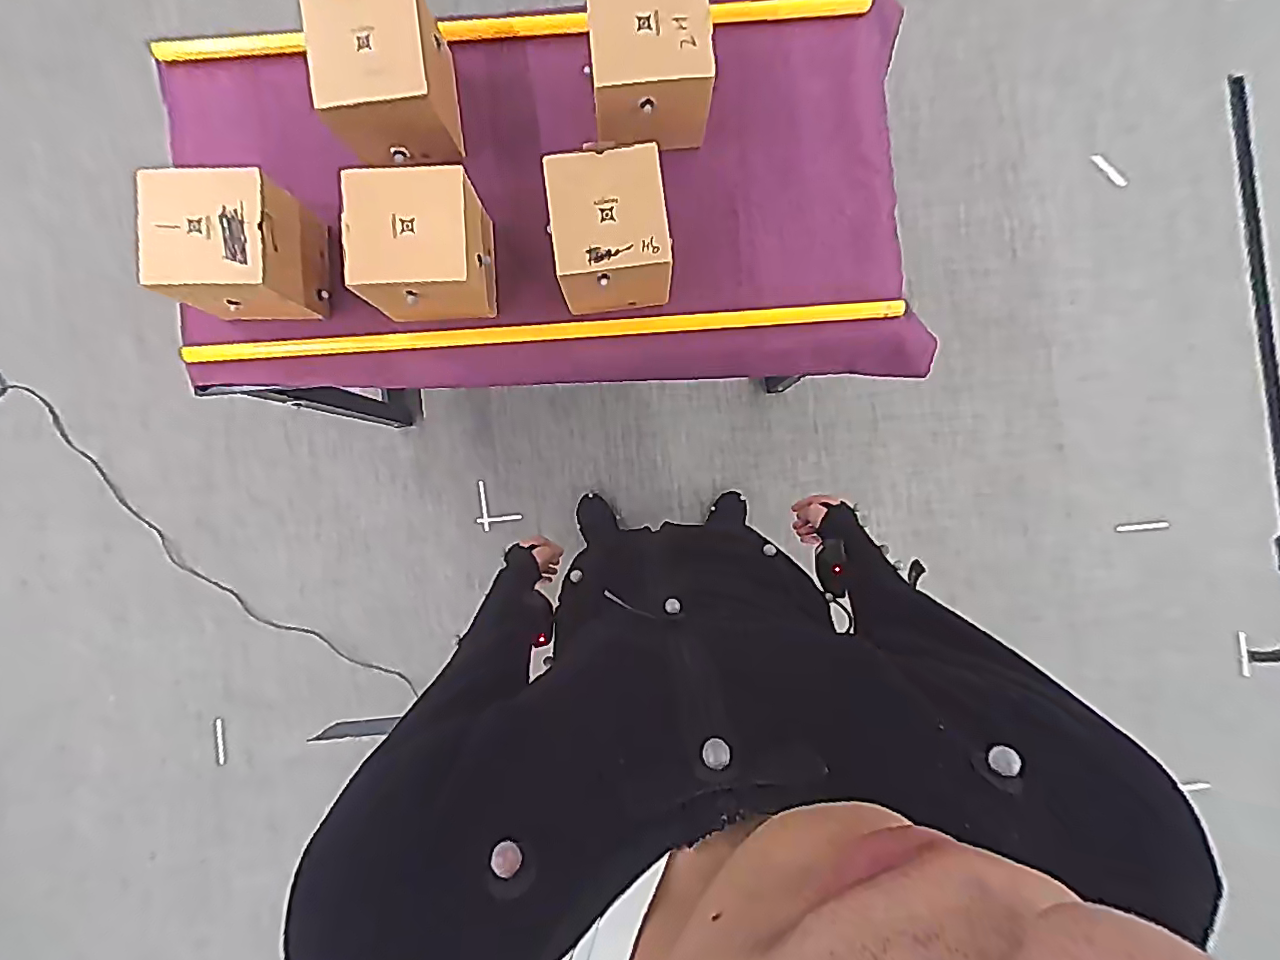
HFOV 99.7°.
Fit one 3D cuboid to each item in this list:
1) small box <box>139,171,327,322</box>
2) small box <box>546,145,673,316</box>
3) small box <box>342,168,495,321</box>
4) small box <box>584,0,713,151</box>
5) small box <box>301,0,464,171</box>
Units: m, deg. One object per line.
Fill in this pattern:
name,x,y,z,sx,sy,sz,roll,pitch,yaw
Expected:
small box,-0.612,-0.350,0.836,0.179,0.176,0.168,0,90,0
small box,-0.044,-0.375,0.838,0.168,0.176,0.179,-7,87,0
small box,-0.329,-0.354,0.839,0.179,0.176,0.168,-3,89,1
small box,0.013,-0.639,0.839,0.179,0.176,0.168,-5,91,0
small box,-0.388,-0.618,0.840,0.168,0.176,0.179,-7,91,1
